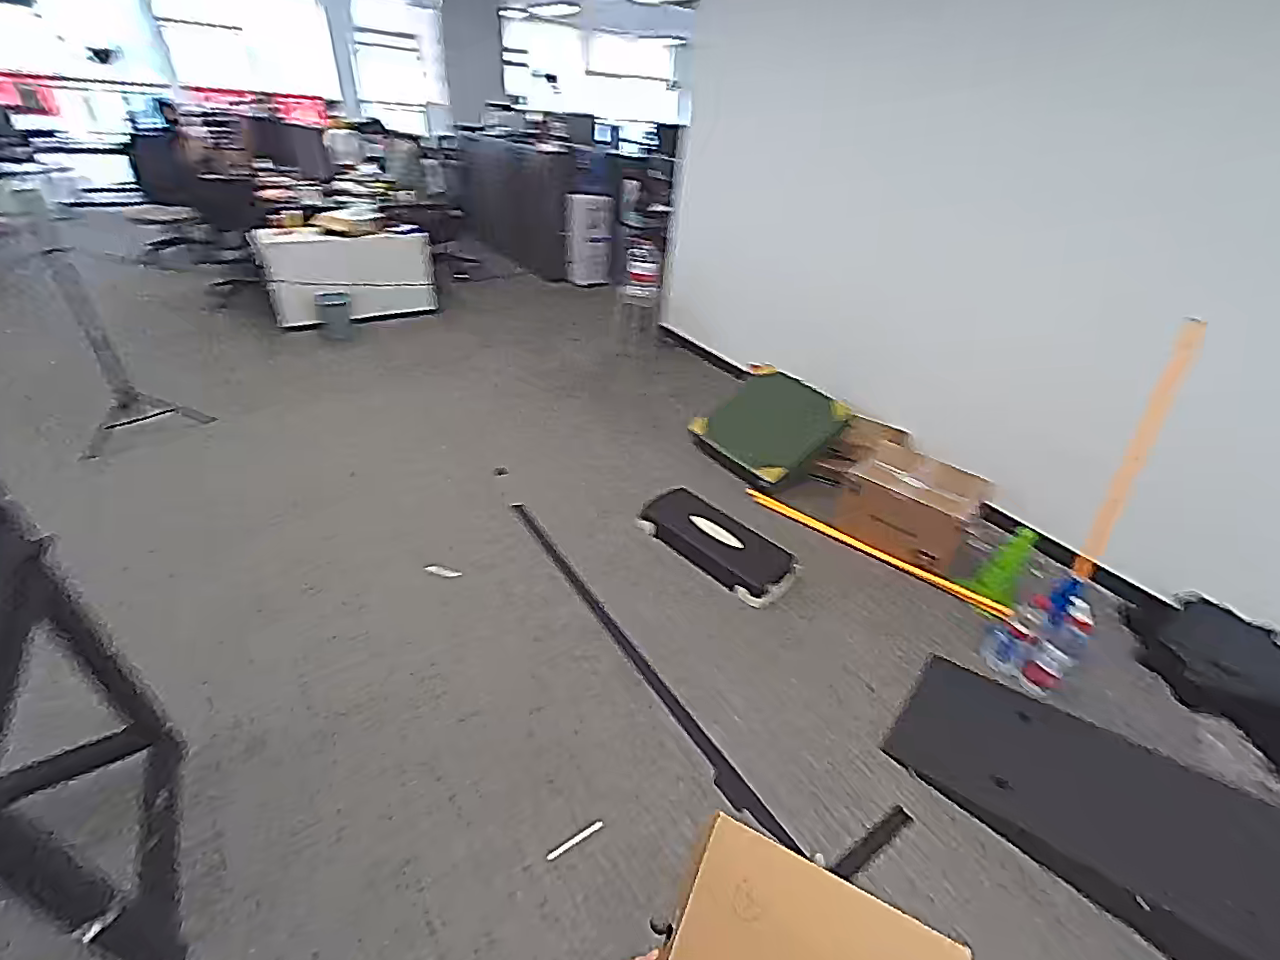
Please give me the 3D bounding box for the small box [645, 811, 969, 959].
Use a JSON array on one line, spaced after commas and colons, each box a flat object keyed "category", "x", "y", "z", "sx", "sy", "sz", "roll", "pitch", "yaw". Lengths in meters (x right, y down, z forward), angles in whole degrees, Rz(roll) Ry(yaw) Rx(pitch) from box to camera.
[{"category": "small box", "x": 0.086, "y": 0.358, "z": 0.364, "sx": 0.168, "sy": 0.176, "sz": 0.179, "roll": 22, "pitch": 59, "yaw": 16}]
